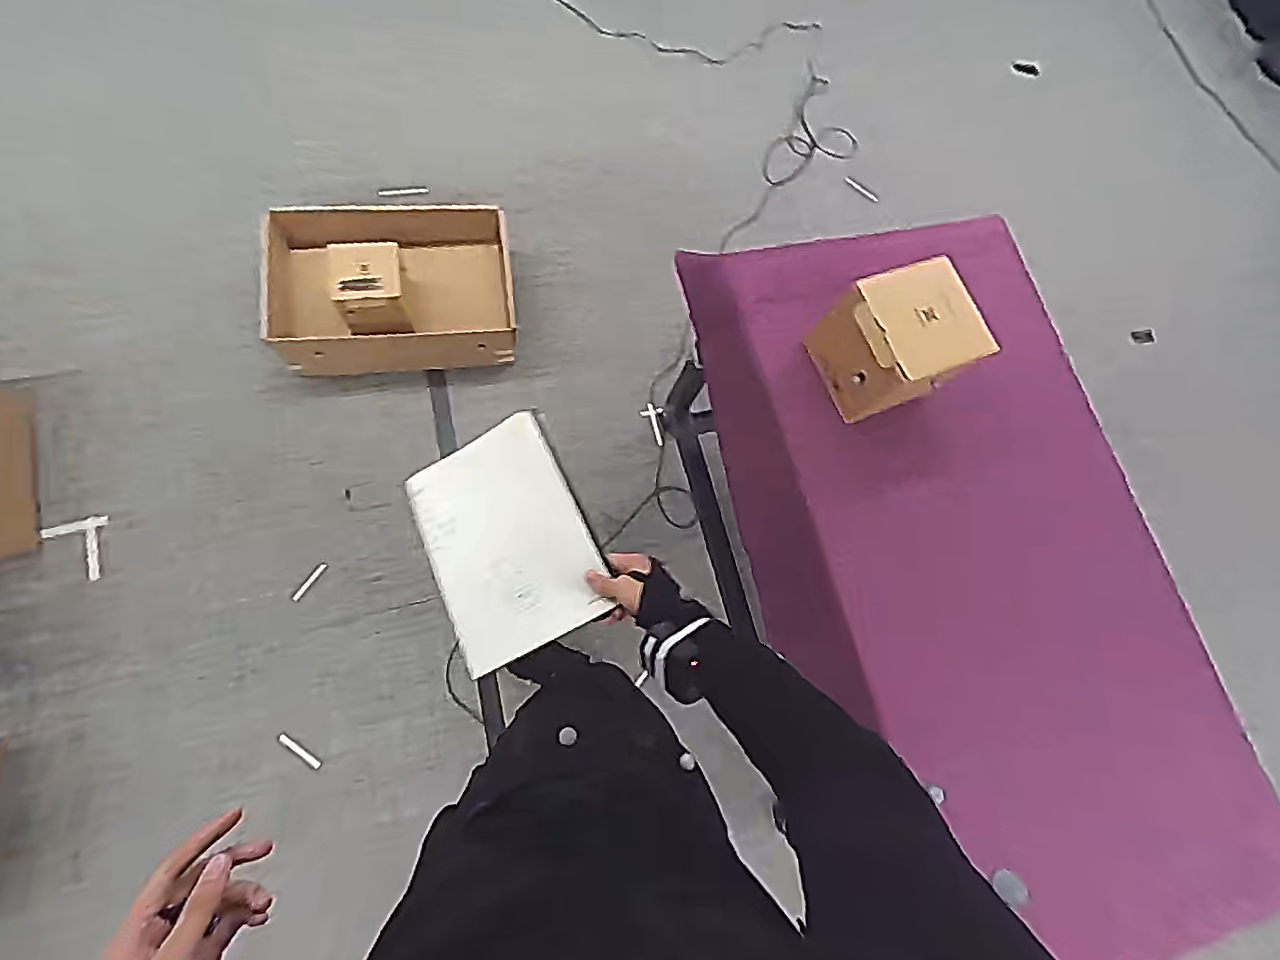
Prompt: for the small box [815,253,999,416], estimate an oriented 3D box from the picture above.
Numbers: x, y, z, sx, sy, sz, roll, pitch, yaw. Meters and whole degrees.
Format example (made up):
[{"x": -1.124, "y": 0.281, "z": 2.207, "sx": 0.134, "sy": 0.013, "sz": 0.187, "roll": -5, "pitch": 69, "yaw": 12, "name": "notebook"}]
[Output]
[{"x": 0.403, "y": -0.220, "z": 0.856, "sx": 0.179, "sy": 0.176, "sz": 0.168, "roll": -20, "pitch": 80, "yaw": -14, "name": "small box"}]
